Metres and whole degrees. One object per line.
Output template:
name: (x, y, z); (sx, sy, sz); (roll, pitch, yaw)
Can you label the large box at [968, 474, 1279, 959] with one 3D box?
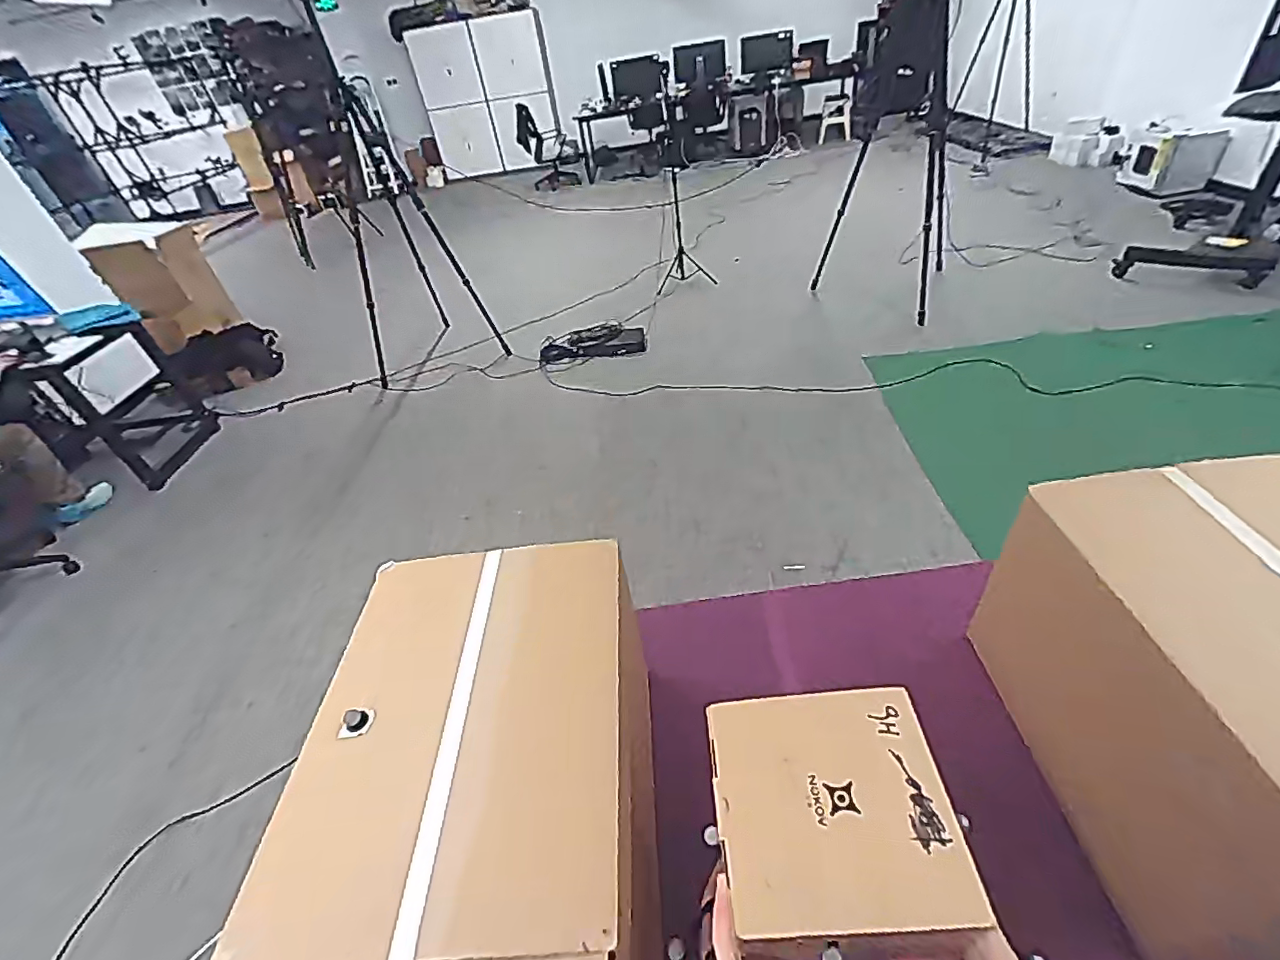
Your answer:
large box: (0.645, 0.244, 0.593); (0.320, 0.320, 0.408); (-6, 40, 5)
